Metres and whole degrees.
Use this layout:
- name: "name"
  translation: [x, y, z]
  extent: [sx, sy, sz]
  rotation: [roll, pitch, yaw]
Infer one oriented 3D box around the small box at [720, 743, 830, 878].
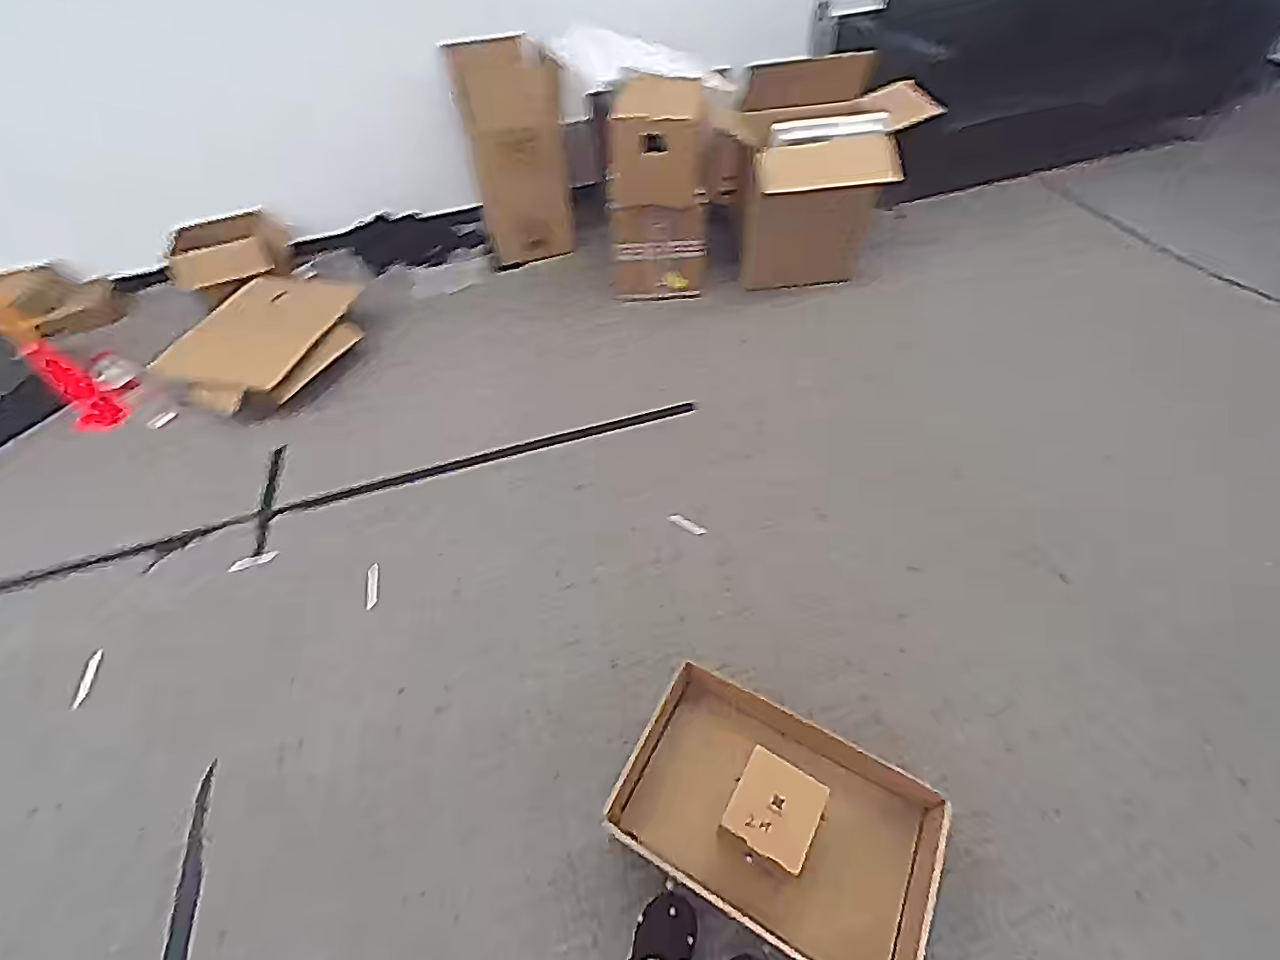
- name: "small box"
  translation: [0.277, 0.703, 1.148]
  extent: [0.168, 0.176, 0.179]
  rotation: [25, 57, 23]
